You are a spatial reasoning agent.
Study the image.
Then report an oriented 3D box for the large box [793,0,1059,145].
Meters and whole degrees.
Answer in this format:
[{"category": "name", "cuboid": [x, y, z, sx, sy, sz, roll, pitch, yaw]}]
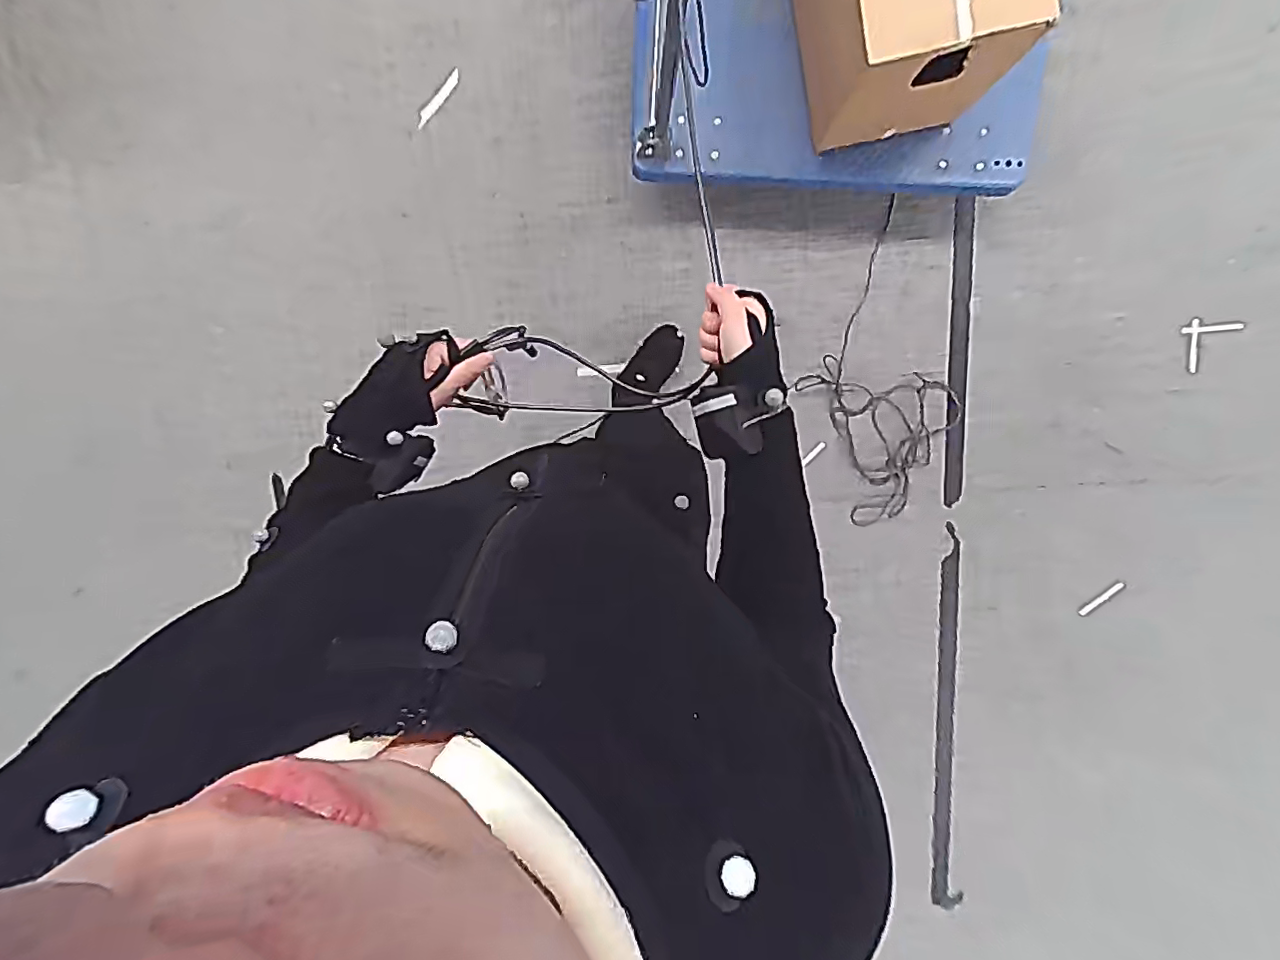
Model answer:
[{"category": "large box", "cuboid": [0.487, -0.925, 0.996, 0.320, 0.320, 0.408, -12, 99, 4]}]
